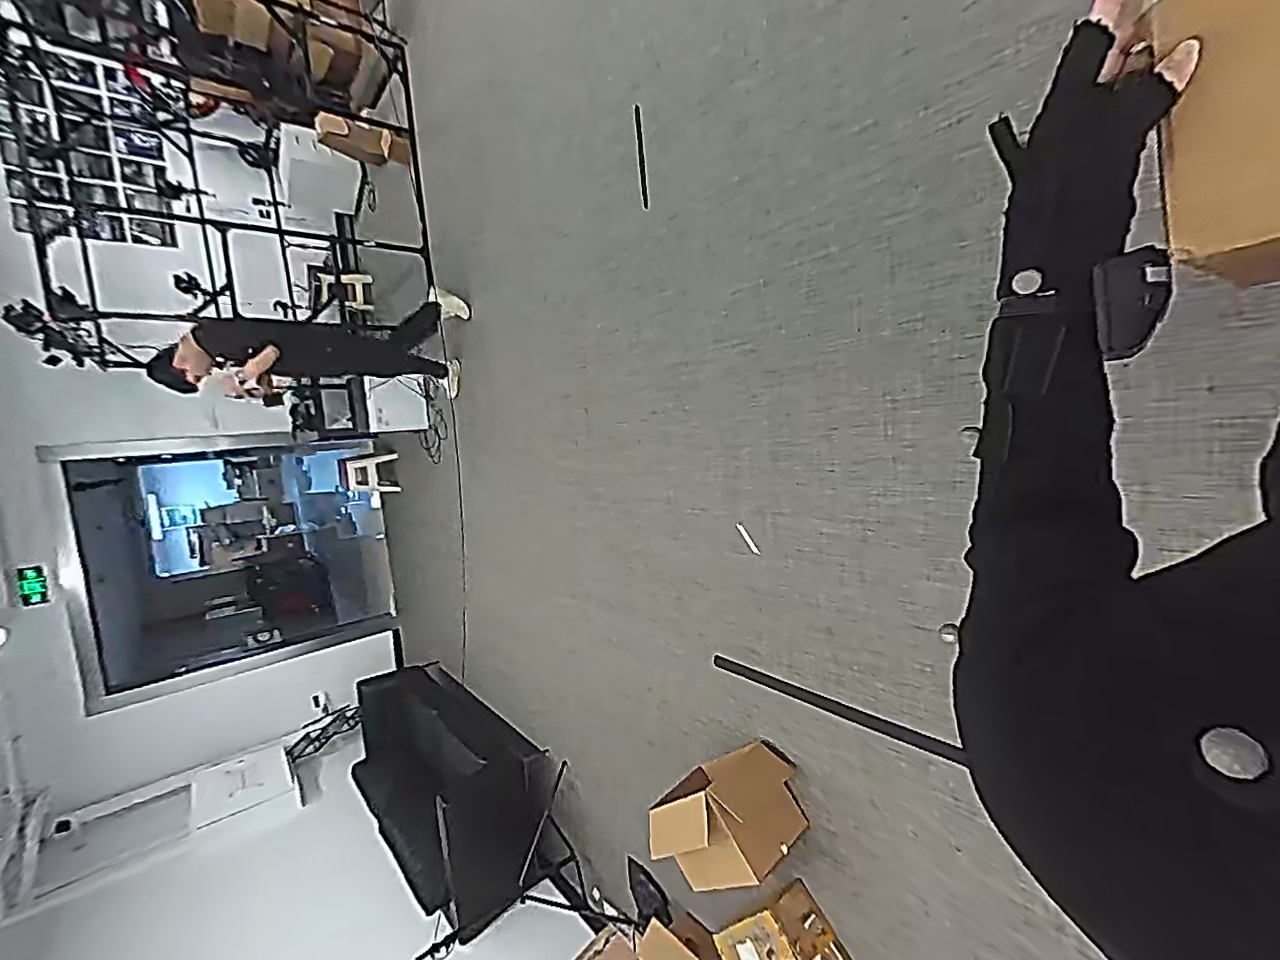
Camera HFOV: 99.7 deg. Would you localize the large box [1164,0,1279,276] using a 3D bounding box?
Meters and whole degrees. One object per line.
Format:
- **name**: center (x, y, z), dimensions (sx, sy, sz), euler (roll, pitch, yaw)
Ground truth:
- **large box**: center (0.532, -0.321, 0.243), dimensions (0.408, 0.320, 0.320), euler (-4, 97, 52)
